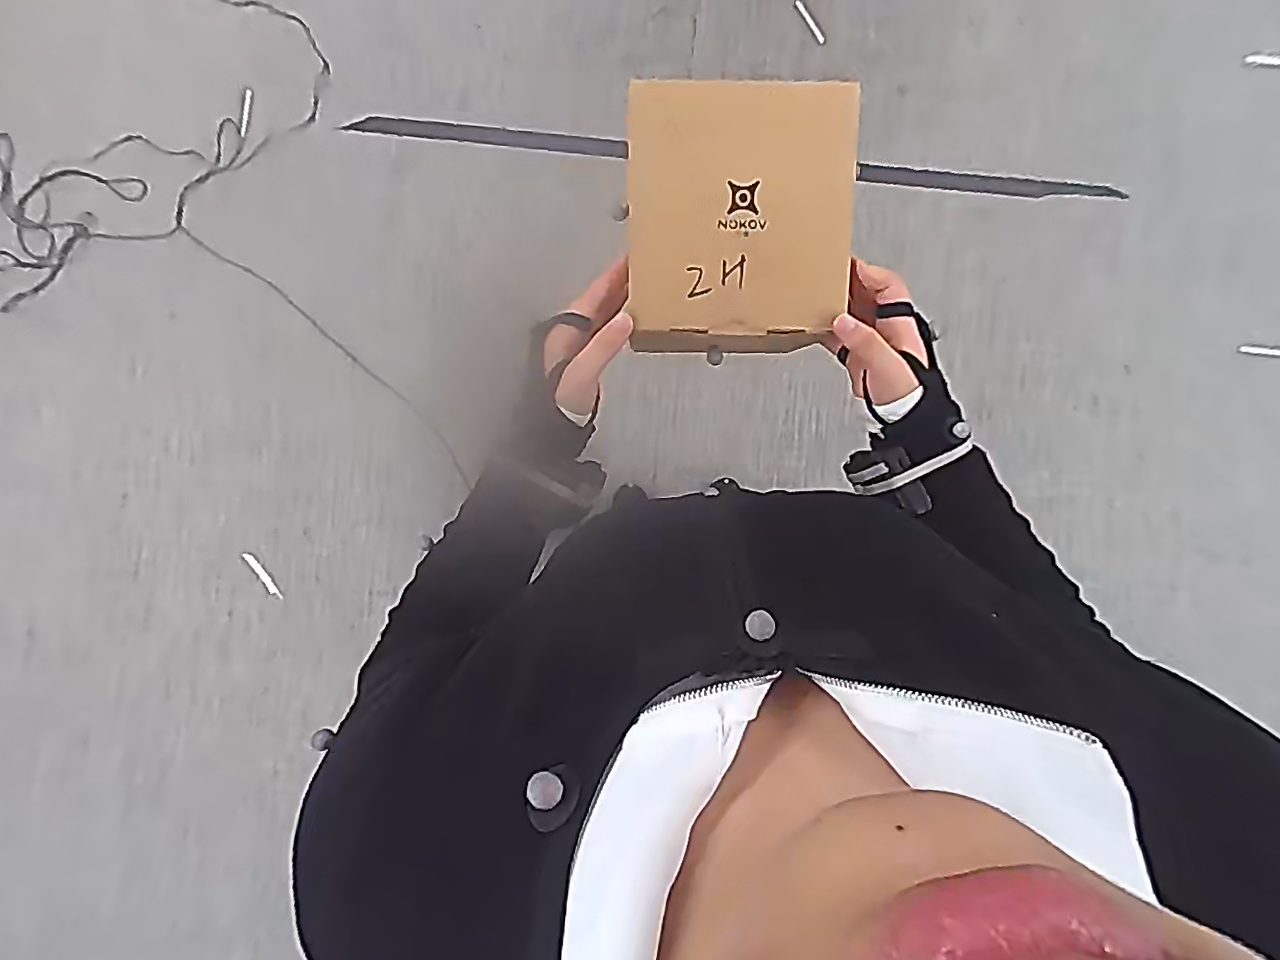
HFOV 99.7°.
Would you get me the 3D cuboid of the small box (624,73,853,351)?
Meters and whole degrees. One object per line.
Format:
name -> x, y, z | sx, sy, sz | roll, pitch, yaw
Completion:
small box -> 0.071, -0.214, 0.477 | 0.168, 0.176, 0.179 | 1, 98, 0
